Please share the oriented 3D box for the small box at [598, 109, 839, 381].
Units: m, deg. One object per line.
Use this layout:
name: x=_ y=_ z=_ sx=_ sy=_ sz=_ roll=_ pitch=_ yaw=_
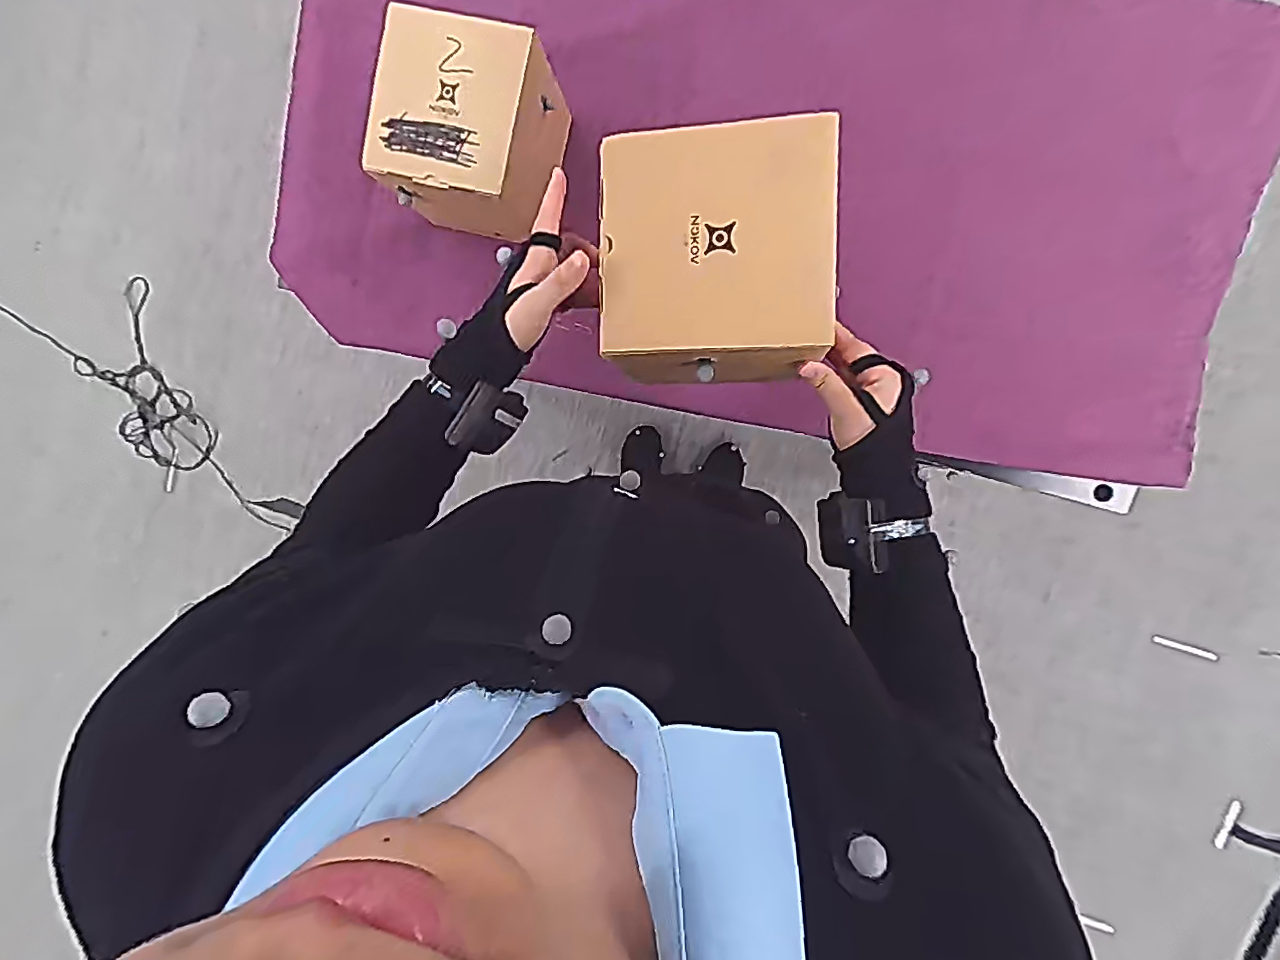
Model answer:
small box: x=0.068 y=-0.182 z=0.474 sx=0.179 sy=0.176 sz=0.168 roll=0 pitch=92 yaw=12
